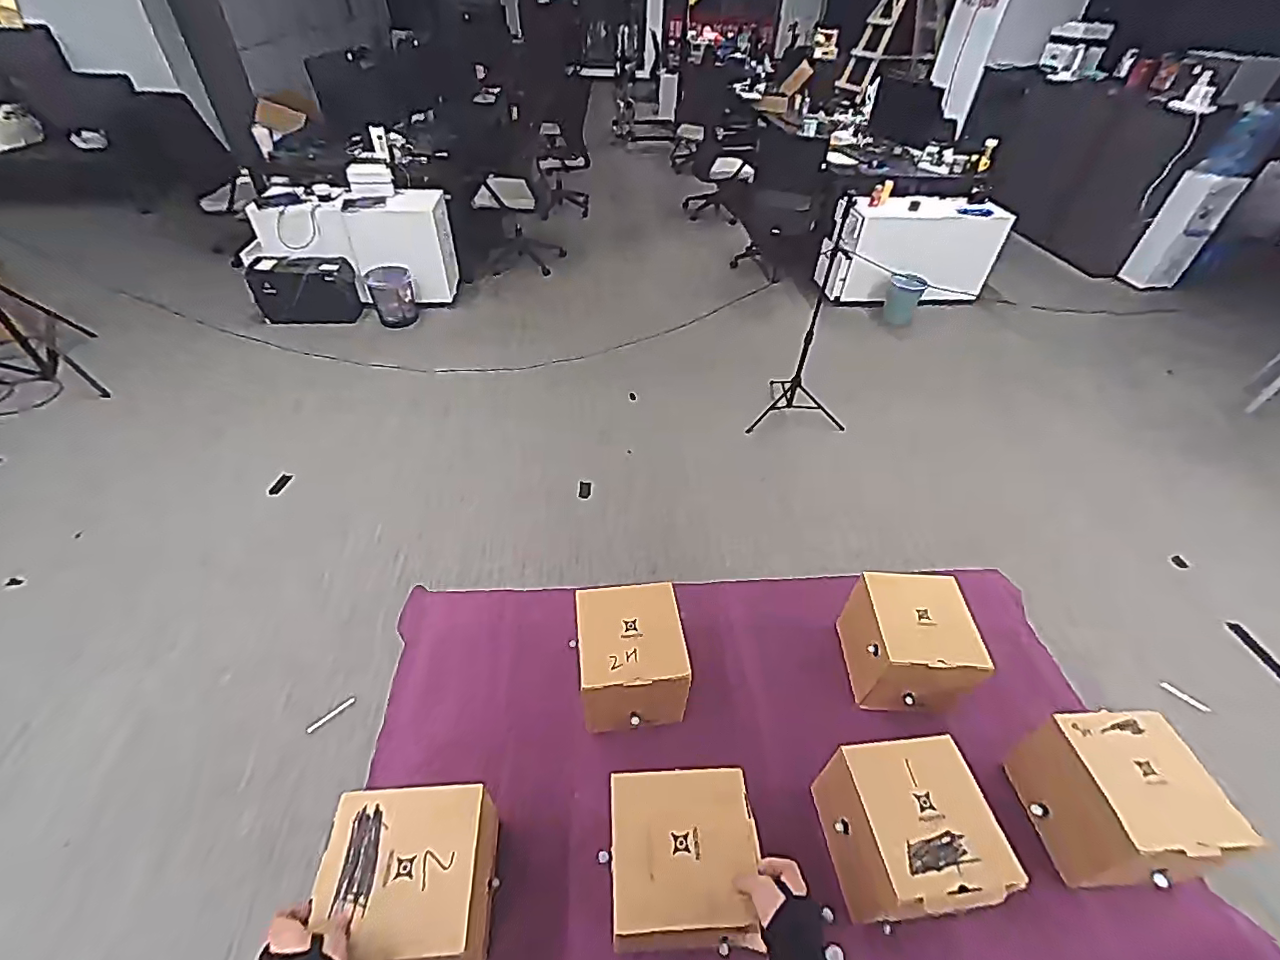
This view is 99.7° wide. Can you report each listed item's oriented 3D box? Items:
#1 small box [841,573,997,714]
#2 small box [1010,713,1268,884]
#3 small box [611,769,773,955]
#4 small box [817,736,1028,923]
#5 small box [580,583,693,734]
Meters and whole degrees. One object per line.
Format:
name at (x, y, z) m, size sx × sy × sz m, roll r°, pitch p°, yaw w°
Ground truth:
small box at (0.472, 0.286, 0.949) m, size 0.168 × 0.176 × 0.179 m, roll 2°, pitch 44°, yaw 0°
small box at (0.682, 0.455, 0.770) m, size 0.168 × 0.176 × 0.179 m, roll 0°, pitch 41°, yaw -2°
small box at (0.053, 0.493, 0.700) m, size 0.179 × 0.176 × 0.168 m, roll 0°, pitch 42°, yaw -4°
small box at (0.362, 0.476, 0.734) m, size 0.168 × 0.176 × 0.179 m, roll -2°, pitch 42°, yaw -6°
small box at (-0.015, 0.299, 0.909) m, size 0.168 × 0.176 × 0.179 m, roll -4°, pitch 43°, yaw -7°
